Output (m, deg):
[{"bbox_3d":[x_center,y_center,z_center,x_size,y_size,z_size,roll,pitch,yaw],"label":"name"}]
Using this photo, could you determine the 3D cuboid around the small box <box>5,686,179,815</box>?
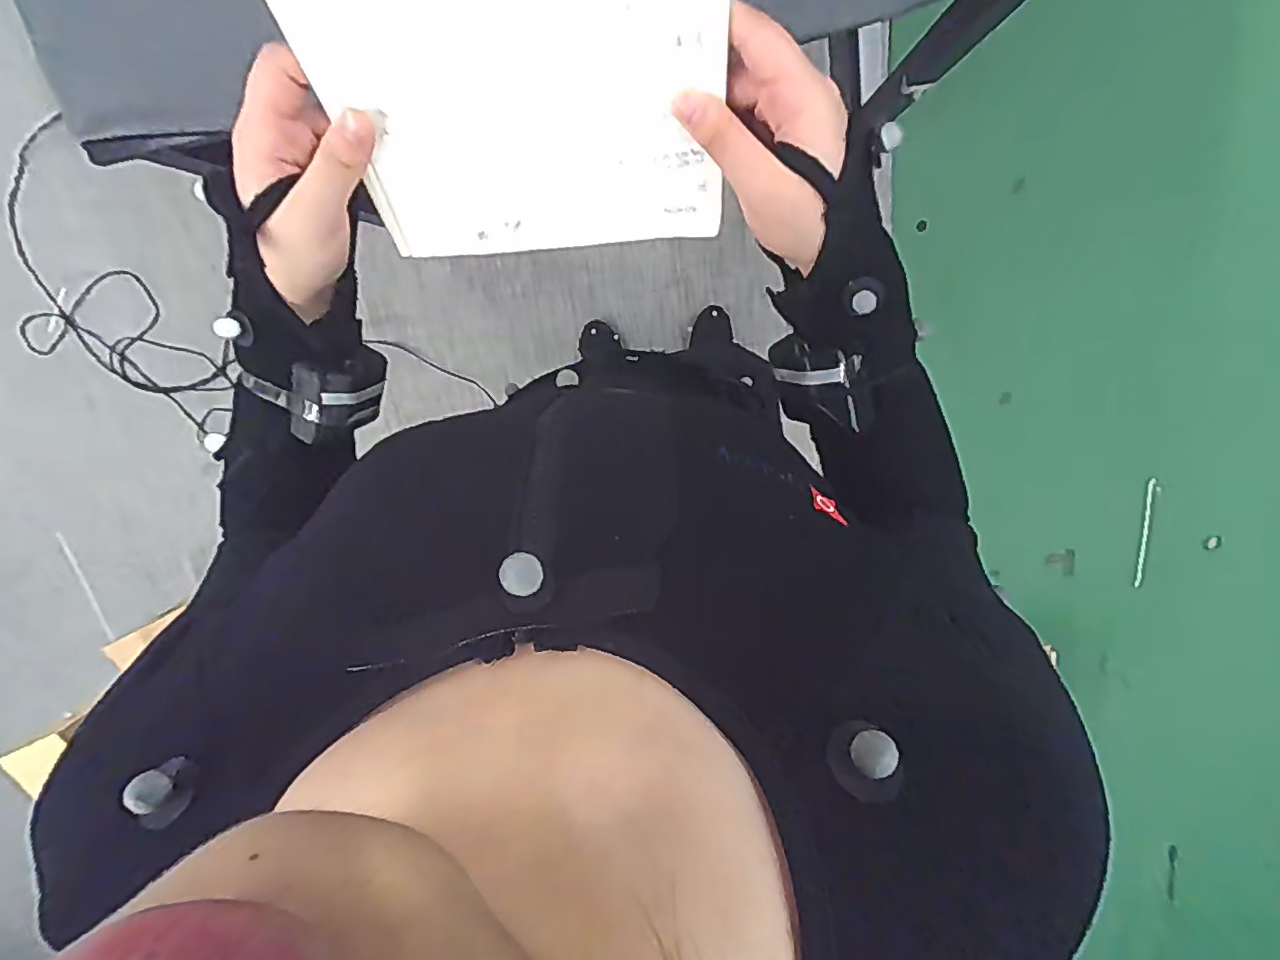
[{"bbox_3d":[-1.202,0.589,1.202,0.168,0.176,0.179,-24,105,9],"label":"small box"}]
